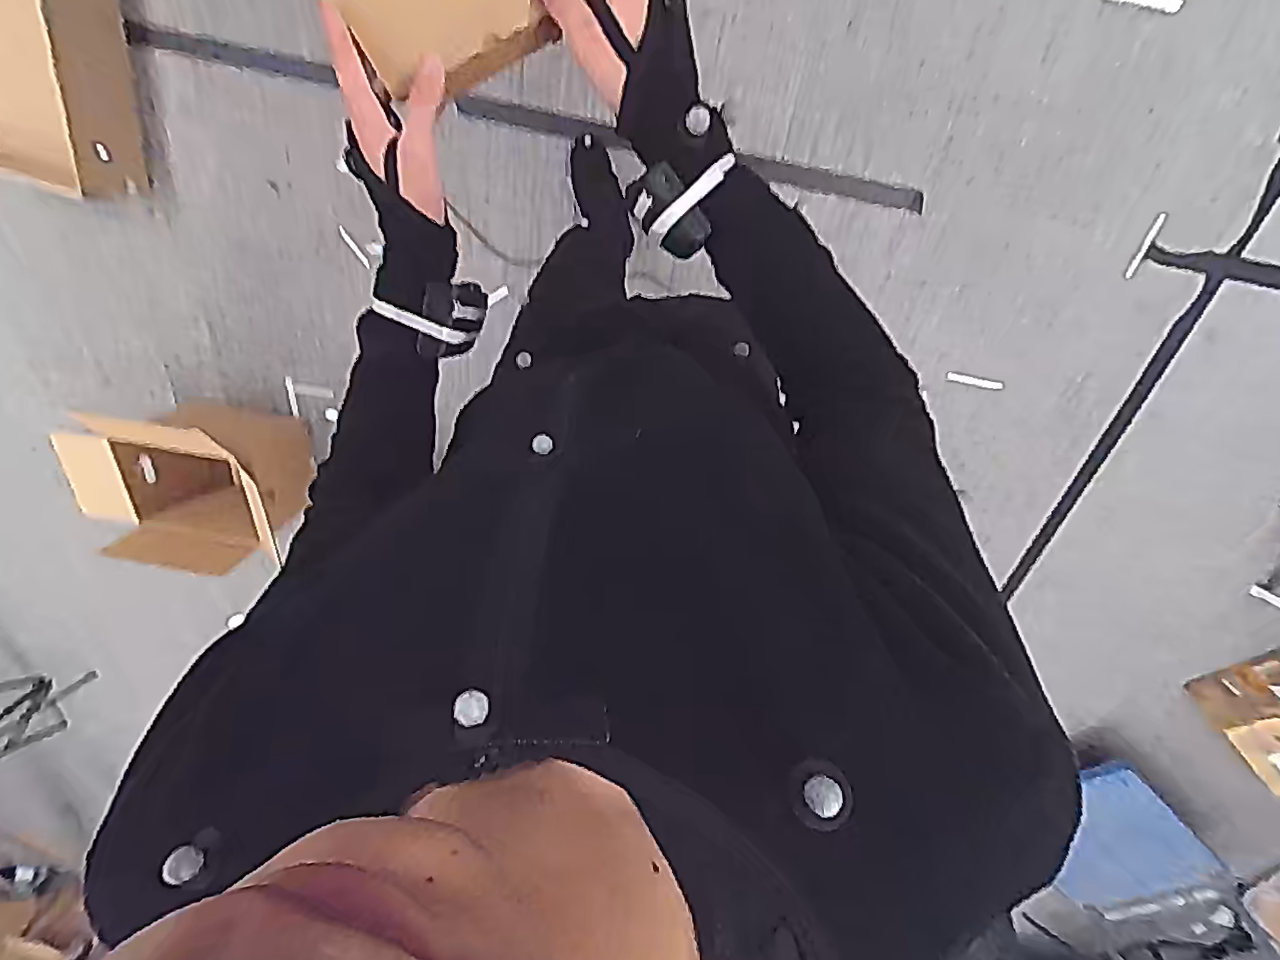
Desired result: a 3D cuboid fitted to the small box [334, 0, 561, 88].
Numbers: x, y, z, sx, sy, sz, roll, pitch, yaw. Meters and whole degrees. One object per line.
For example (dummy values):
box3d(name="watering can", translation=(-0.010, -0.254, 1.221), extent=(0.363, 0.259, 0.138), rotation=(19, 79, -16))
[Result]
box3d(name="small box", translation=(-0.140, -0.414, 0.372), extent=(0.168, 0.176, 0.179), rotation=(-19, 130, 13))
